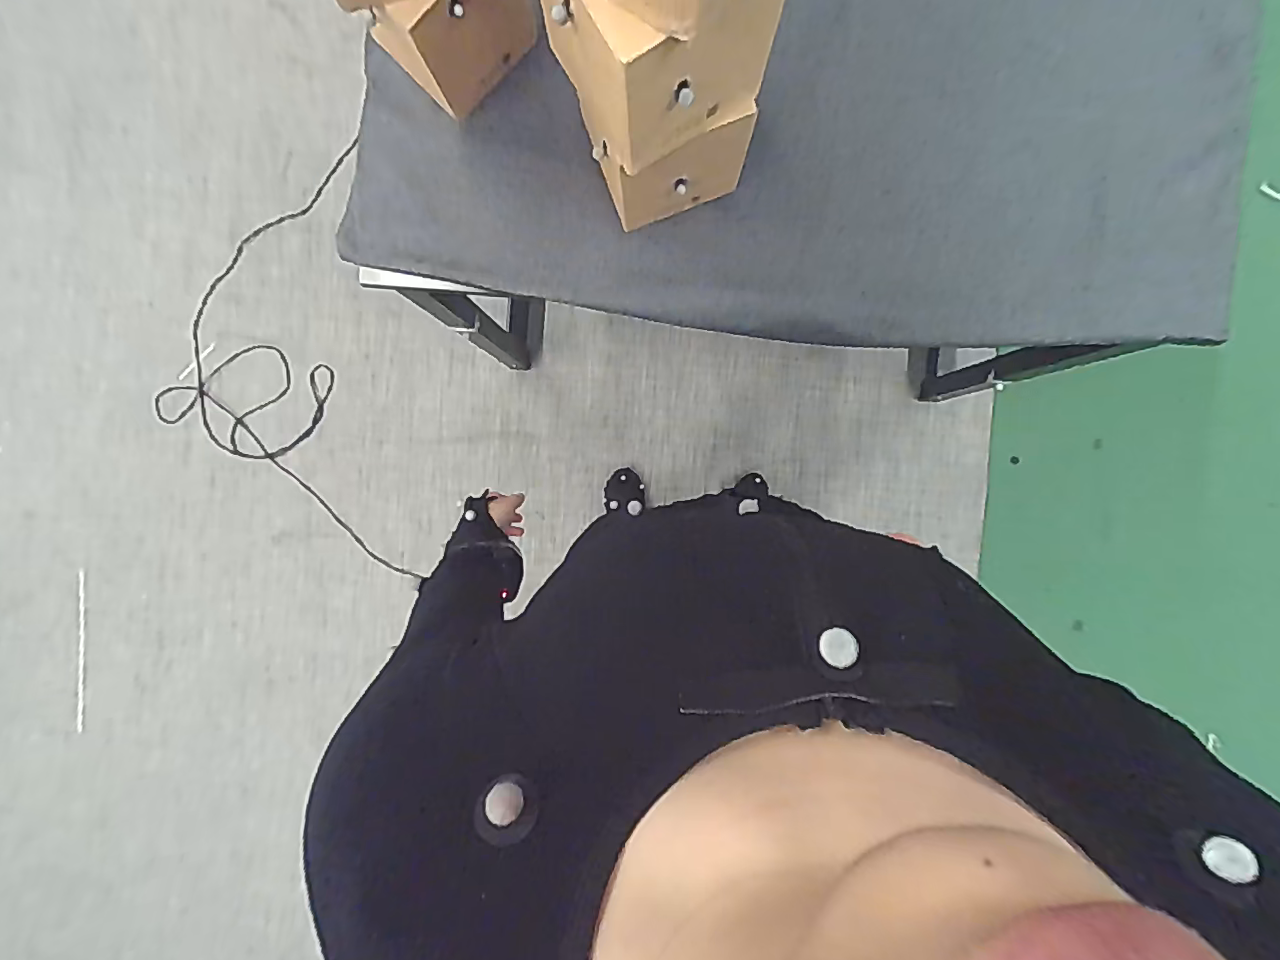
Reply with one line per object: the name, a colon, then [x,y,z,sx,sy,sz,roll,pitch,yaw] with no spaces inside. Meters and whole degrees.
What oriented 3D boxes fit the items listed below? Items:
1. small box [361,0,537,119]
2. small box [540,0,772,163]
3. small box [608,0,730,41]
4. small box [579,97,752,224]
small box: [-0.259,-0.616,0.684,0.168,0.176,0.179,-45,89,2]
small box: [0.012,-0.442,0.514,0.168,0.176,0.179,-31,89,2]
small box: [0.011,-0.450,0.351,0.179,0.176,0.168,33,92,1]
small box: [0.024,-0.450,0.675,0.168,0.176,0.179,-20,89,1]
